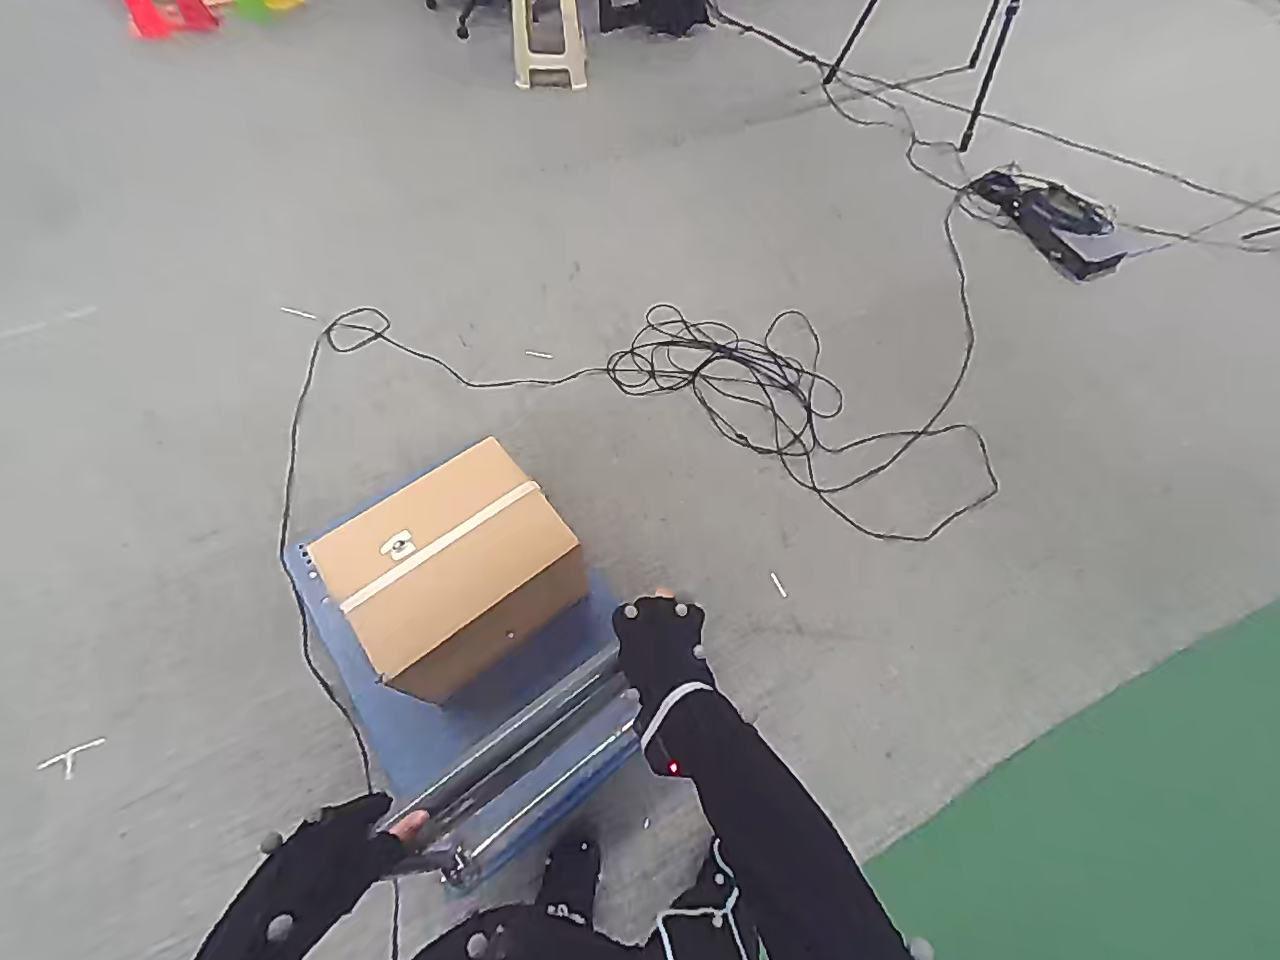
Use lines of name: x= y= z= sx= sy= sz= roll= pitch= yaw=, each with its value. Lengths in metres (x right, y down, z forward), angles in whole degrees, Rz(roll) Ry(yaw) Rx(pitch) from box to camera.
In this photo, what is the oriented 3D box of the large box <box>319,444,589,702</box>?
large box: x=-0.361 y=0.205 z=1.157 sx=0.408 sy=0.320 sz=0.320 roll=-36 pitch=67 yaw=-18
